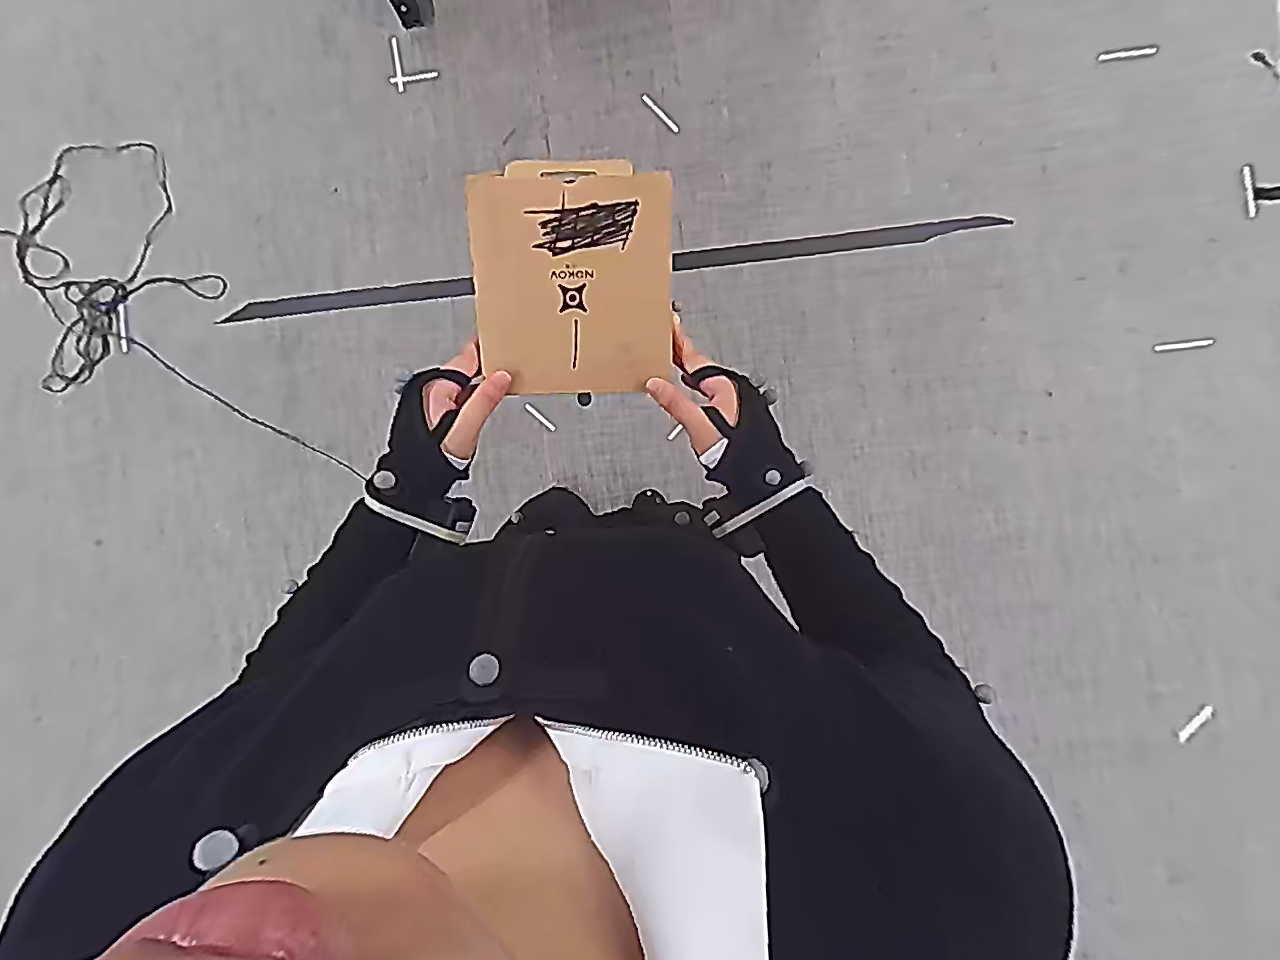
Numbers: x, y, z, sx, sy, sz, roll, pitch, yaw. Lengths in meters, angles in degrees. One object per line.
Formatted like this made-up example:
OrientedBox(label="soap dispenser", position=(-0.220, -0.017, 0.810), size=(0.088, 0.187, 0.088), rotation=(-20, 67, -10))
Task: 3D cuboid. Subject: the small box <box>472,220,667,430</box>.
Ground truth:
OrientedBox(label="small box", position=(-0.061, -0.145, 0.544), size=(0.168, 0.176, 0.179), rotation=(-1, 101, 0))
